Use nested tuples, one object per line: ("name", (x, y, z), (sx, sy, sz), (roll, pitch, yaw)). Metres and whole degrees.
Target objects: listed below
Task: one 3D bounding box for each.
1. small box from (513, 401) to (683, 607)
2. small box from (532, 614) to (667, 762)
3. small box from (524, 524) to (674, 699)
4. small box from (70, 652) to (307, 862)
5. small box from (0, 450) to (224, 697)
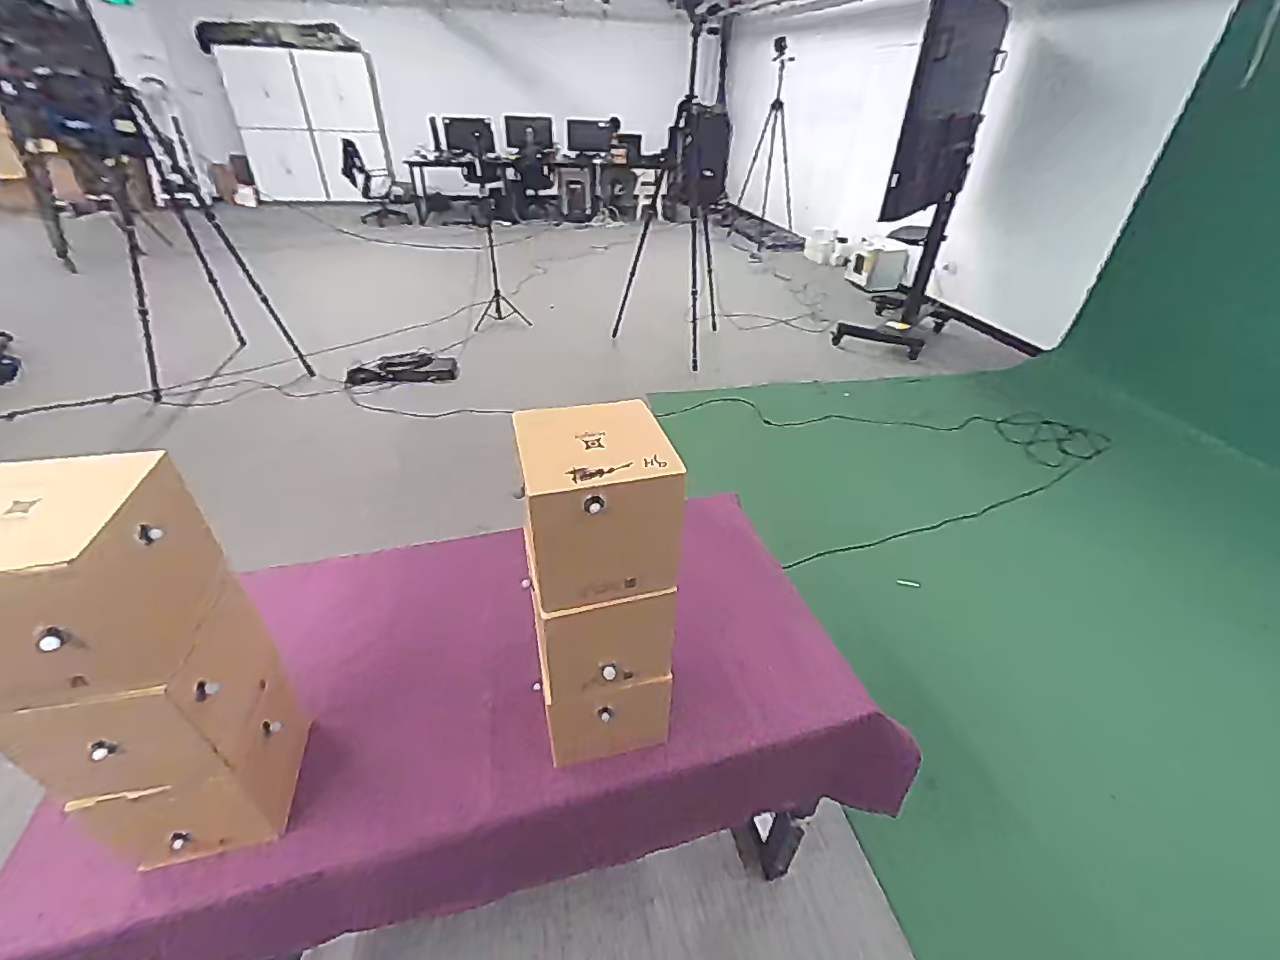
("small box", (-0.056, 0.023, 0.651), (0.168, 0.176, 0.179), (-9, 35, -13))
("small box", (-0.064, 0.301, 0.828), (0.179, 0.176, 0.168), (-7, 37, -12))
("small box", (-0.062, 0.162, 0.739), (0.168, 0.176, 0.179), (-9, 37, -14))
("small box", (-0.570, 0.363, 0.719), (0.168, 0.176, 0.179), (-7, 37, -13))
("small box", (-0.558, 0.092, 0.535), (0.168, 0.176, 0.179), (-6, 35, -12))
